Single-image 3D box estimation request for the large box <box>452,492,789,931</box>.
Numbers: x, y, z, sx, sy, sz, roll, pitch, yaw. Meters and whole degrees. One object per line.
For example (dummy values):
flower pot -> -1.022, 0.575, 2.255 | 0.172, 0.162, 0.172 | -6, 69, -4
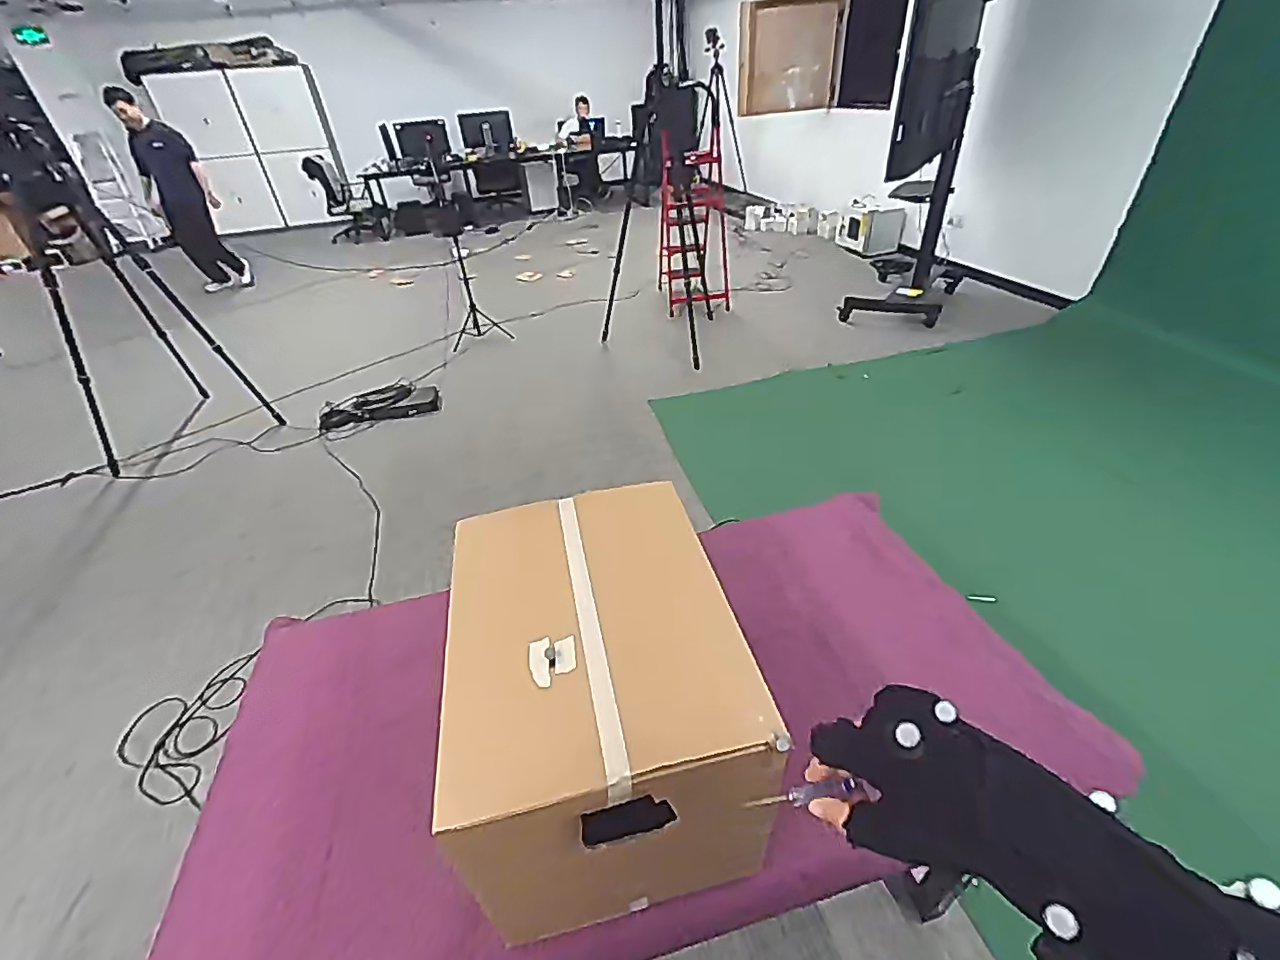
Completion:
large box -> -0.049, 0.272, 0.718 | 0.320, 0.320, 0.408 | -10, 37, -8
